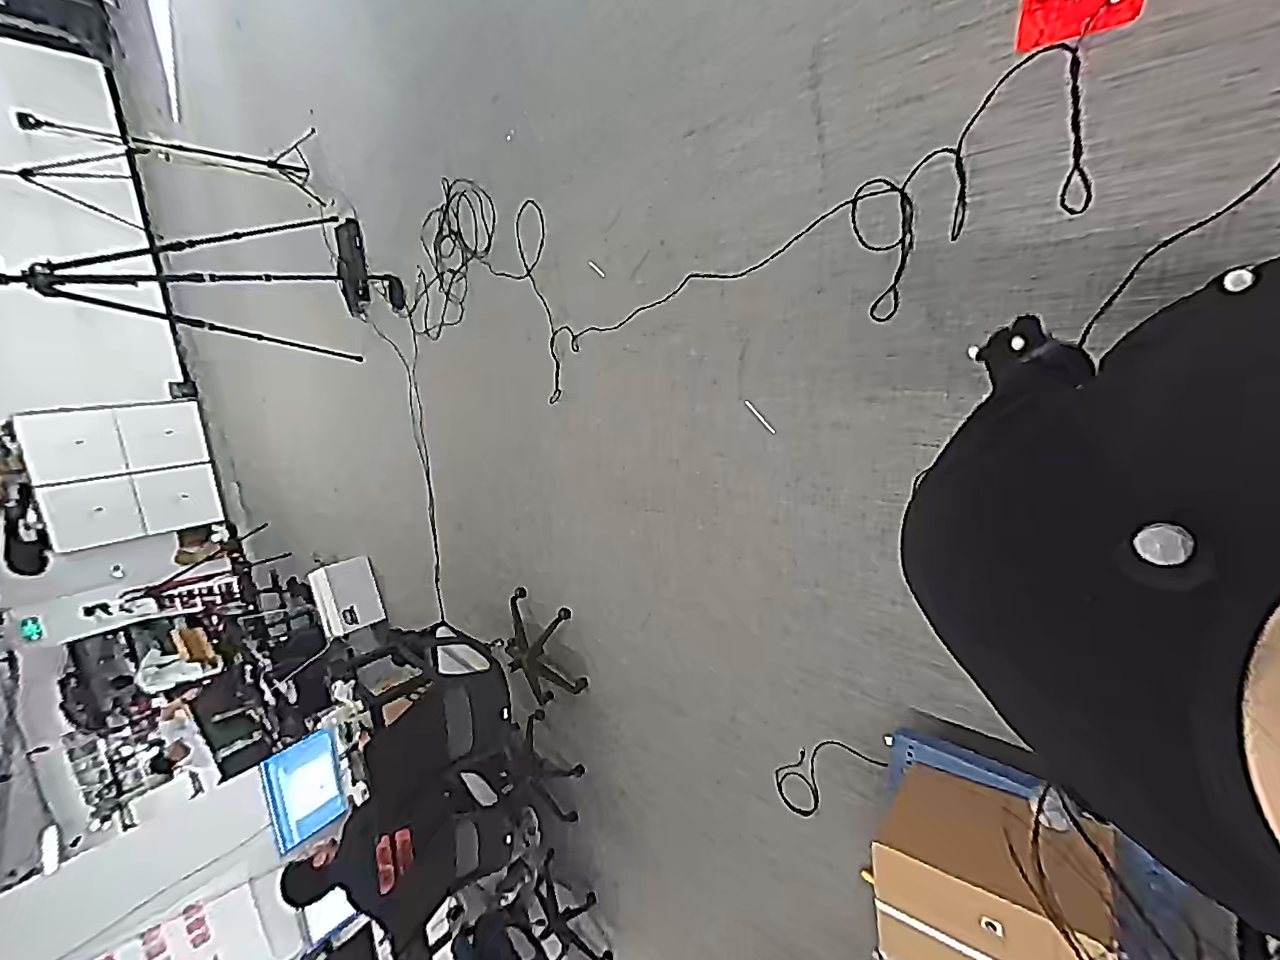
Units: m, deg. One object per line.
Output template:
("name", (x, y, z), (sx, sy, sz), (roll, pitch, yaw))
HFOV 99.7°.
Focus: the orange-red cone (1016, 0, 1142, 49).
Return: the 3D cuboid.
("orange-red cone", (0.743, -0.934, 0.917), (0.198, 0.360, 0.199), (14, 110, 39))
